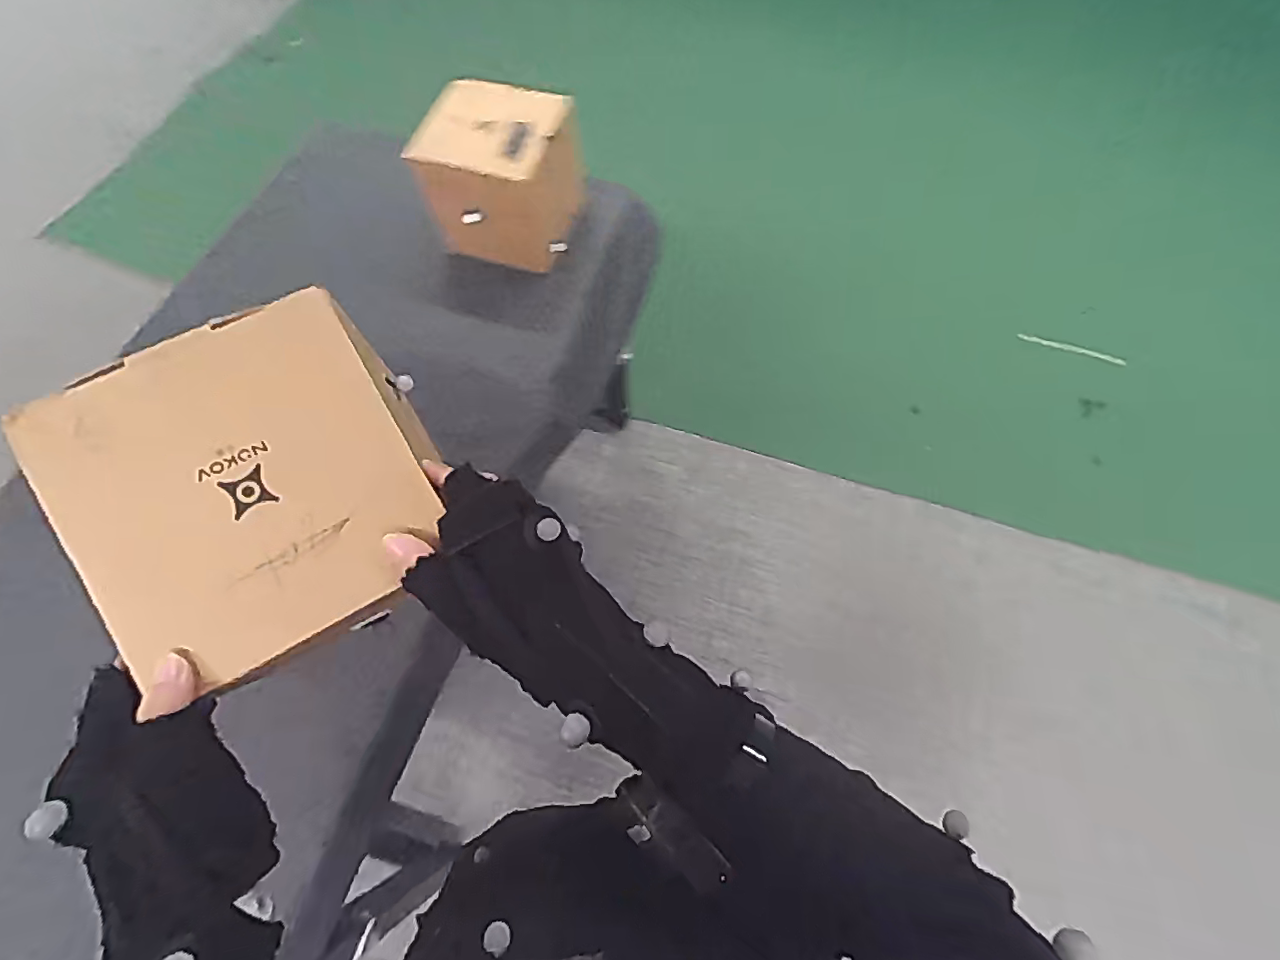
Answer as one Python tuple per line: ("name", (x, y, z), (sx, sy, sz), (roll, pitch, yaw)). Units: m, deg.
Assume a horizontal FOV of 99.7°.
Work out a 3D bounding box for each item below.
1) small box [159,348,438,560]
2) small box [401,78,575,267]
("small box", (-0.370, -0.021, 0.625), (0.179, 0.176, 0.168), (15, 68, 8))
("small box", (-0.209, -0.448, 0.806), (0.179, 0.176, 0.168), (16, 70, 8))
